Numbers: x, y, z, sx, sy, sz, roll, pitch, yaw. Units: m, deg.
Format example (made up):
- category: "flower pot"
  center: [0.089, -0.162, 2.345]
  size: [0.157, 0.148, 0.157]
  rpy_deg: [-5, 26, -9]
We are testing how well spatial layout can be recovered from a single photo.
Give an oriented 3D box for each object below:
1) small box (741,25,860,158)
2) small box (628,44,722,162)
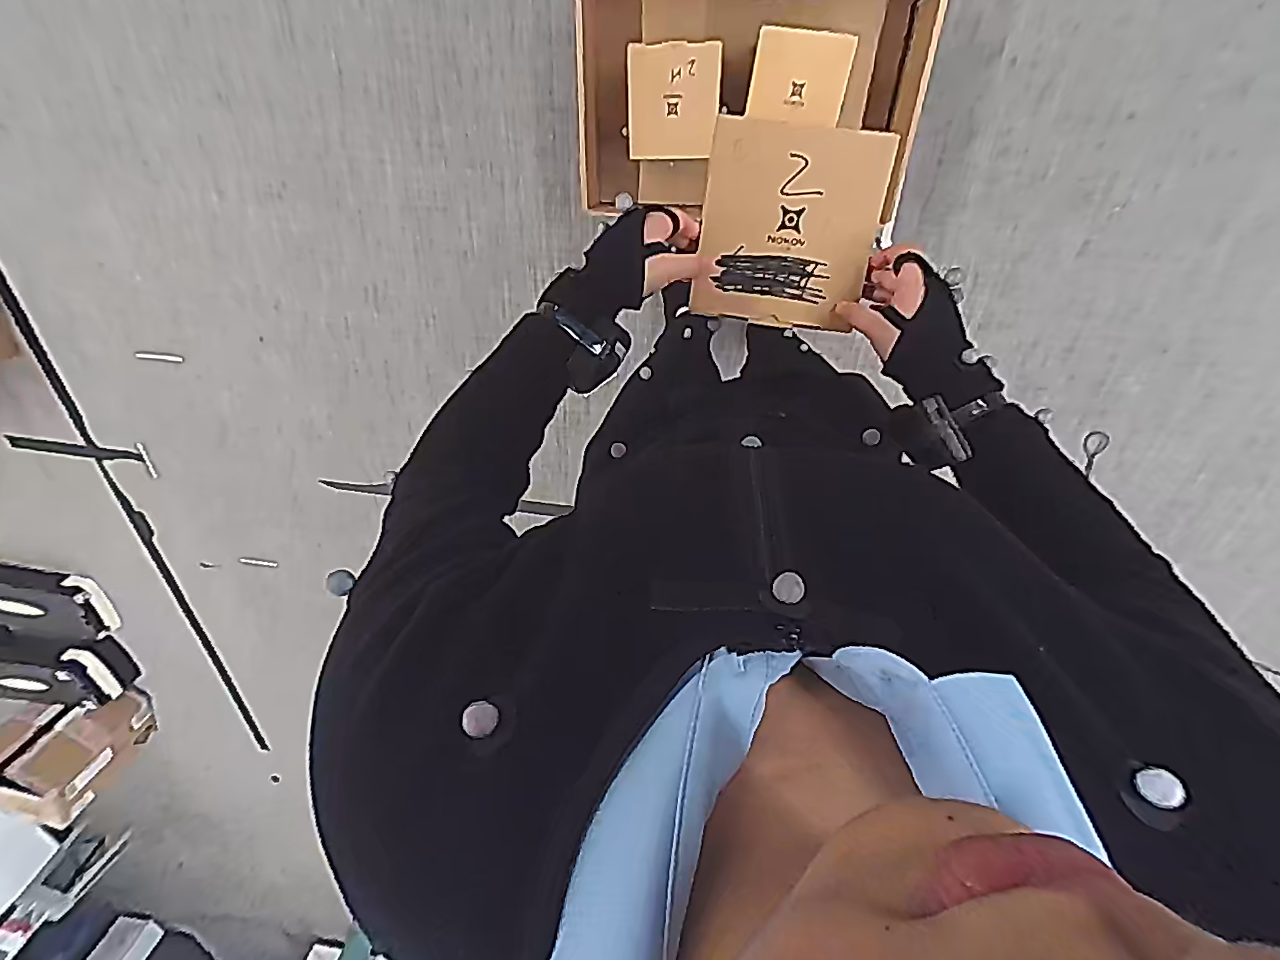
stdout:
- category: "small box"
  center: [0.285, -0.715, 1.011]
  size: [0.168, 0.176, 0.179]
  rpy_deg: [10, 123, 3]
- category: "small box"
  center: [0.069, -0.717, 1.039]
  size: [0.168, 0.176, 0.179]
  rpy_deg: [3, 122, 5]
